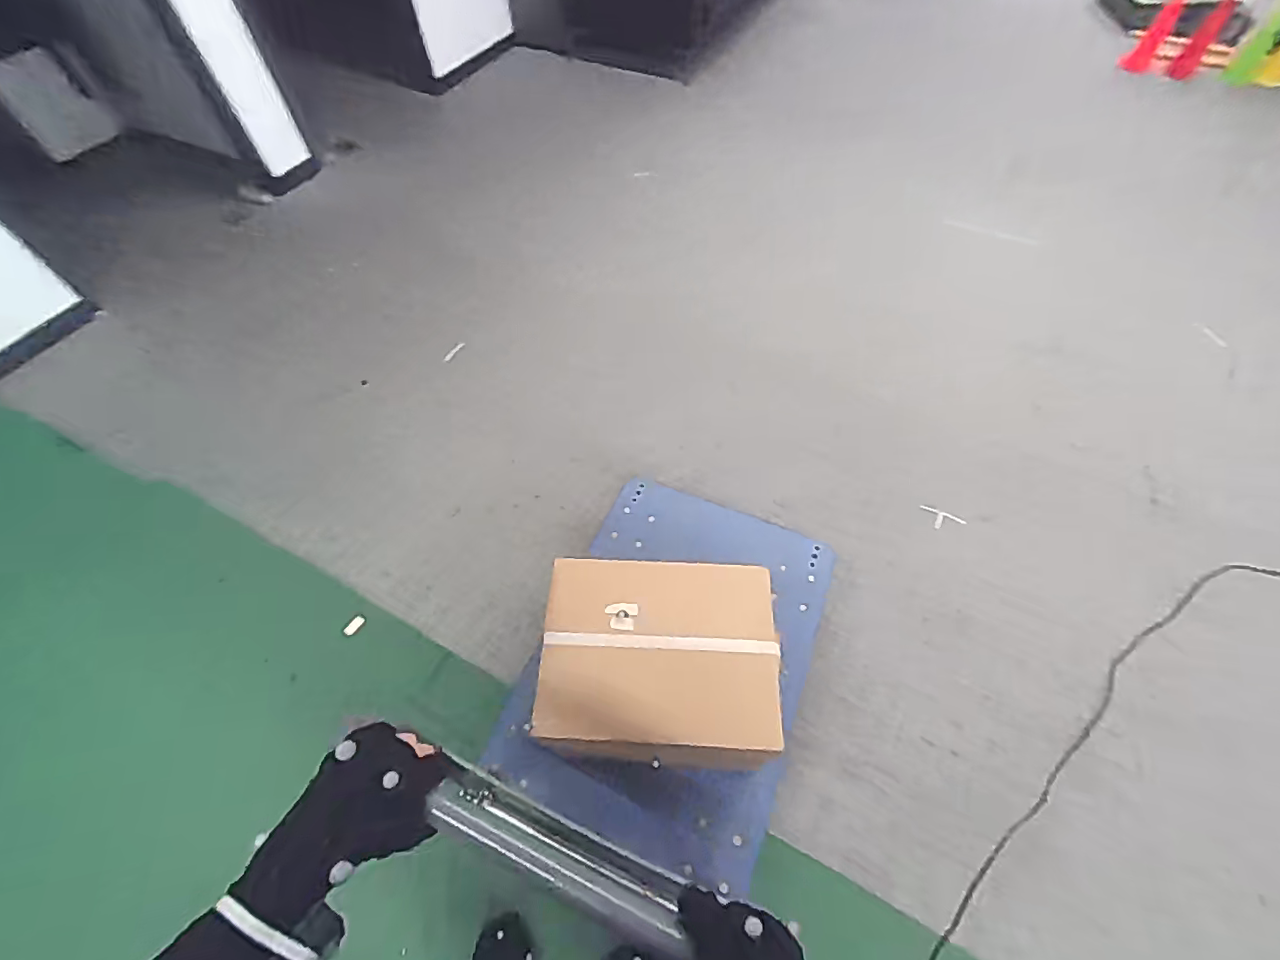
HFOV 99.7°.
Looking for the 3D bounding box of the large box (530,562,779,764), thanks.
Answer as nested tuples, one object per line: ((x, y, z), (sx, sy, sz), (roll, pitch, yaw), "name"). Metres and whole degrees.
((0.035, 0.369, 1.061), (0.408, 0.320, 0.320), (2, 57, 4), "large box")
